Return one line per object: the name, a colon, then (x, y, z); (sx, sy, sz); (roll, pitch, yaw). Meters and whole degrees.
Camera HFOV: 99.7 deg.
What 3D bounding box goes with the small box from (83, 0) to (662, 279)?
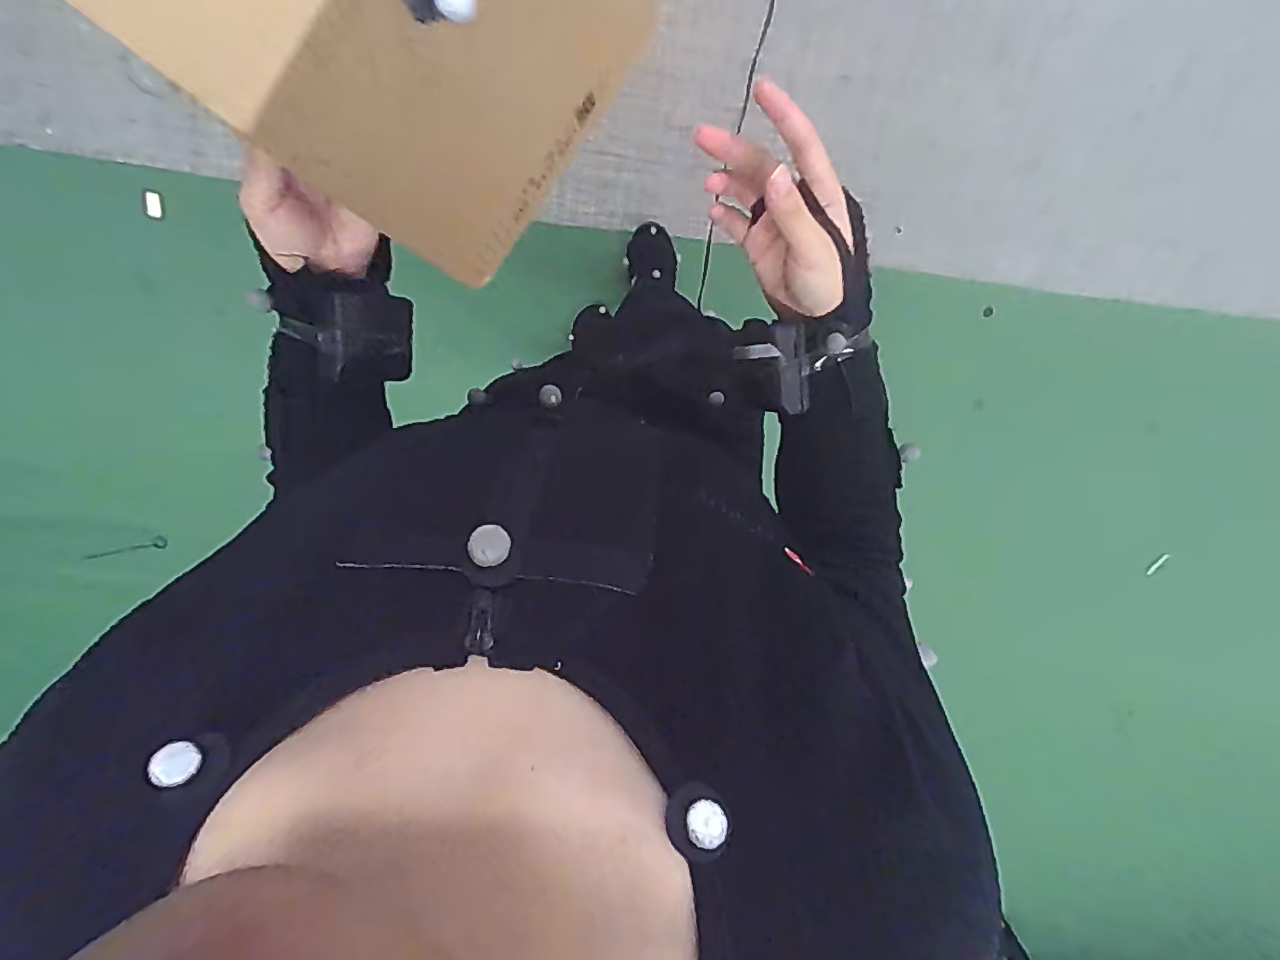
small box: (-0.107, -0.209, 0.214); (0.179, 0.176, 0.168); (36, 98, -1)
